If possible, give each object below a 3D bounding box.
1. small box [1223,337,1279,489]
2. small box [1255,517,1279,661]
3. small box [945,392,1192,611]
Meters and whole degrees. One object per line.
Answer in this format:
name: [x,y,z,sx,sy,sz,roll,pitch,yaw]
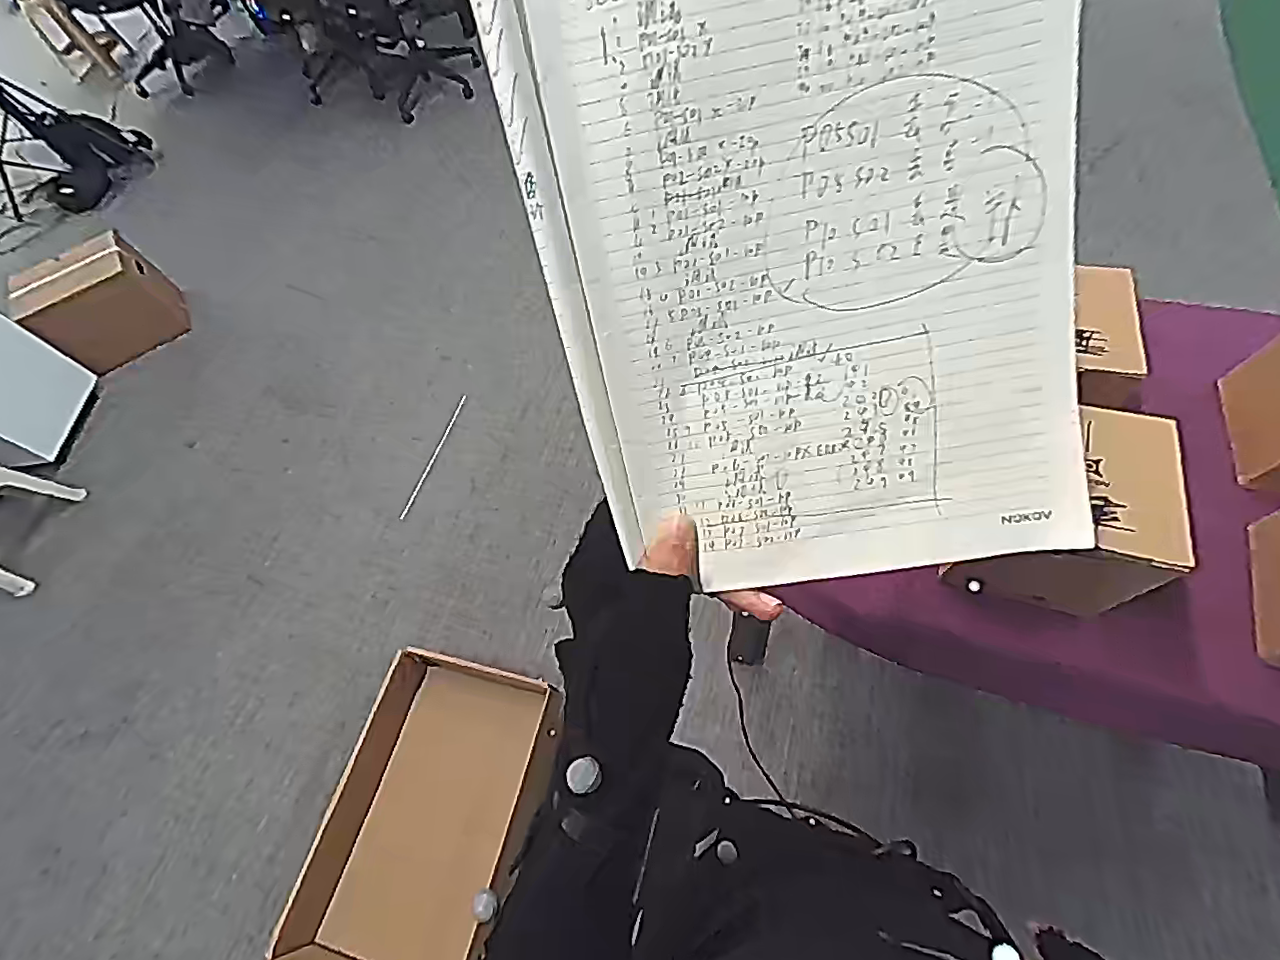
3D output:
small box: [0.847,-0.084,0.627,0.168,0.176,0.179,12,64,15]
small box: [0.771,0.108,0.529,0.168,0.176,0.179,17,65,18]
small box: [0.470,0.031,0.619,0.168,0.176,0.179,15,64,17]
